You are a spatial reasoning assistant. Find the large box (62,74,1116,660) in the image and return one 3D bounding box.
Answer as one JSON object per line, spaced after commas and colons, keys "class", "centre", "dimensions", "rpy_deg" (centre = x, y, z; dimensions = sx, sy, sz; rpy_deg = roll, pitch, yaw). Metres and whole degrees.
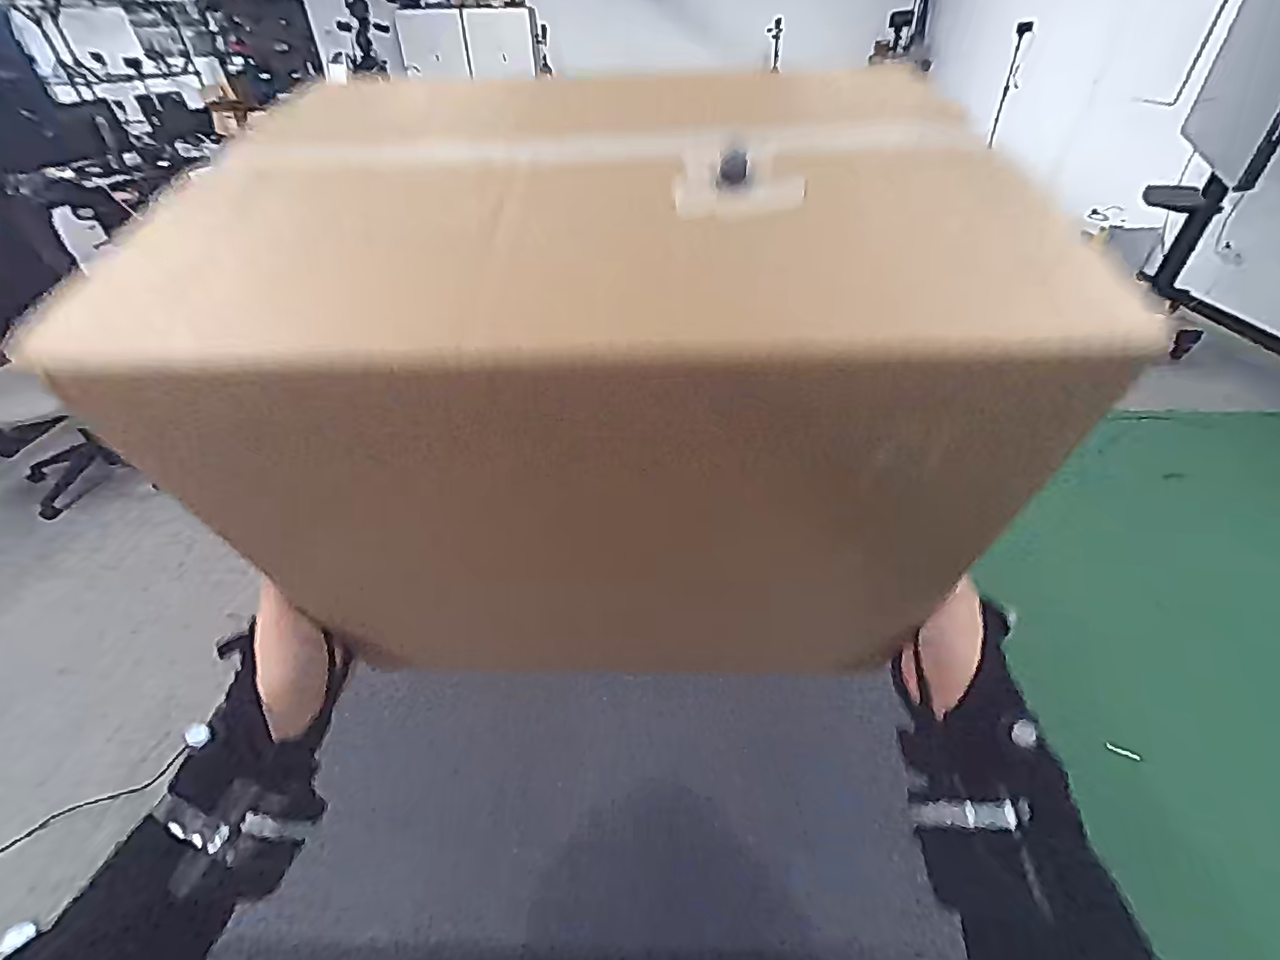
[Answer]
{"class": "large box", "centre": [-0.020, -0.071, 0.408], "dimensions": [0.408, 0.320, 0.320], "rpy_deg": [-1, 52, 1]}
